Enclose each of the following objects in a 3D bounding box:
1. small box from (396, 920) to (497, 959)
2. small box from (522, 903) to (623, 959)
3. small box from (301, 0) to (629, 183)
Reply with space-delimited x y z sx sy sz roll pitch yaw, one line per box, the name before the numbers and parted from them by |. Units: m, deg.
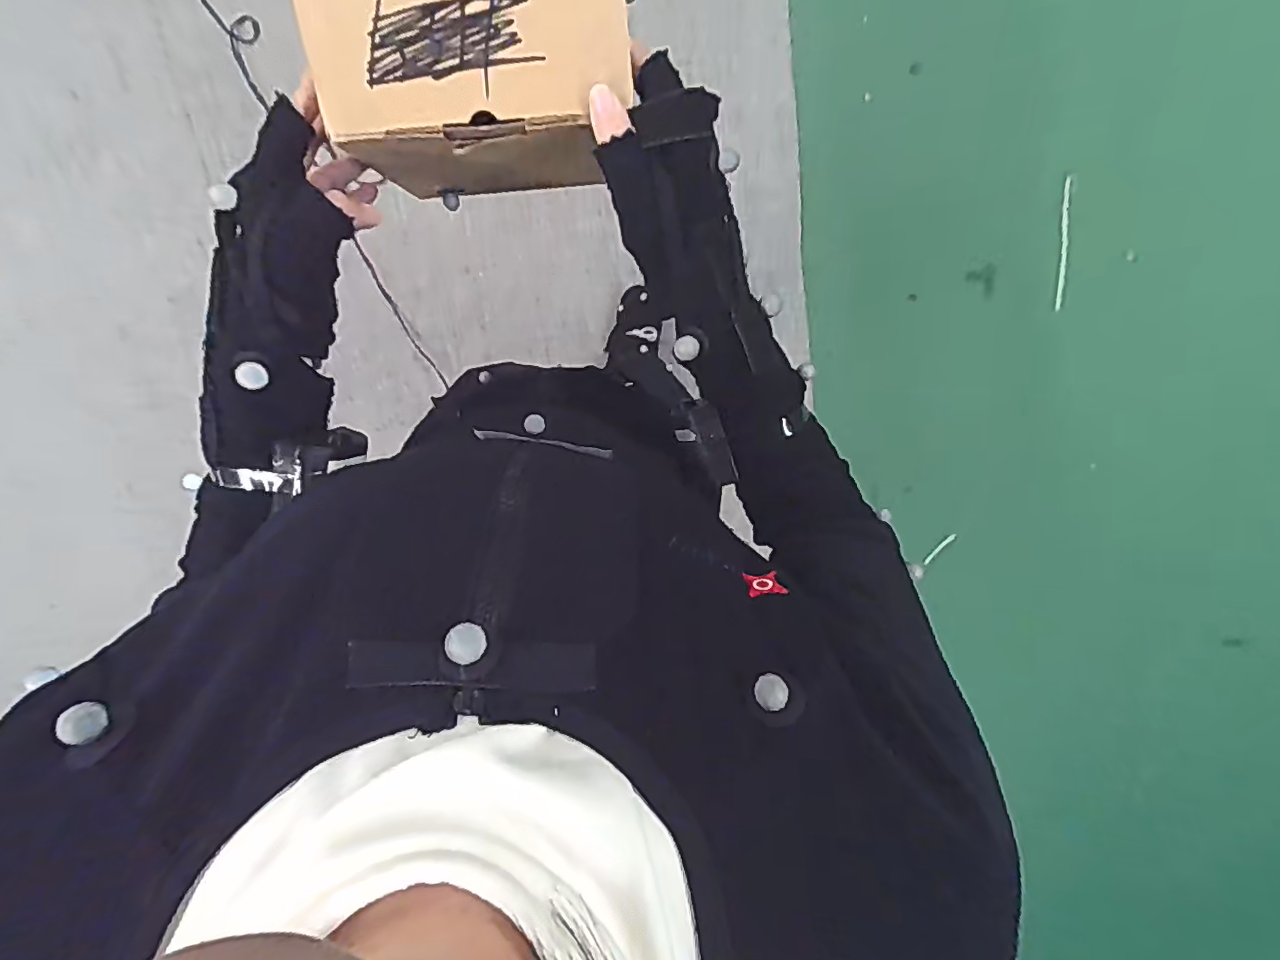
small box | -0.355 0.947 0.976 0.168 0.176 0.179 -4 105 -2
small box | -0.119 0.927 0.984 0.168 0.176 0.179 -10 103 -1
small box | -0.098 -0.302 0.342 0.168 0.176 0.179 -7 107 -3
